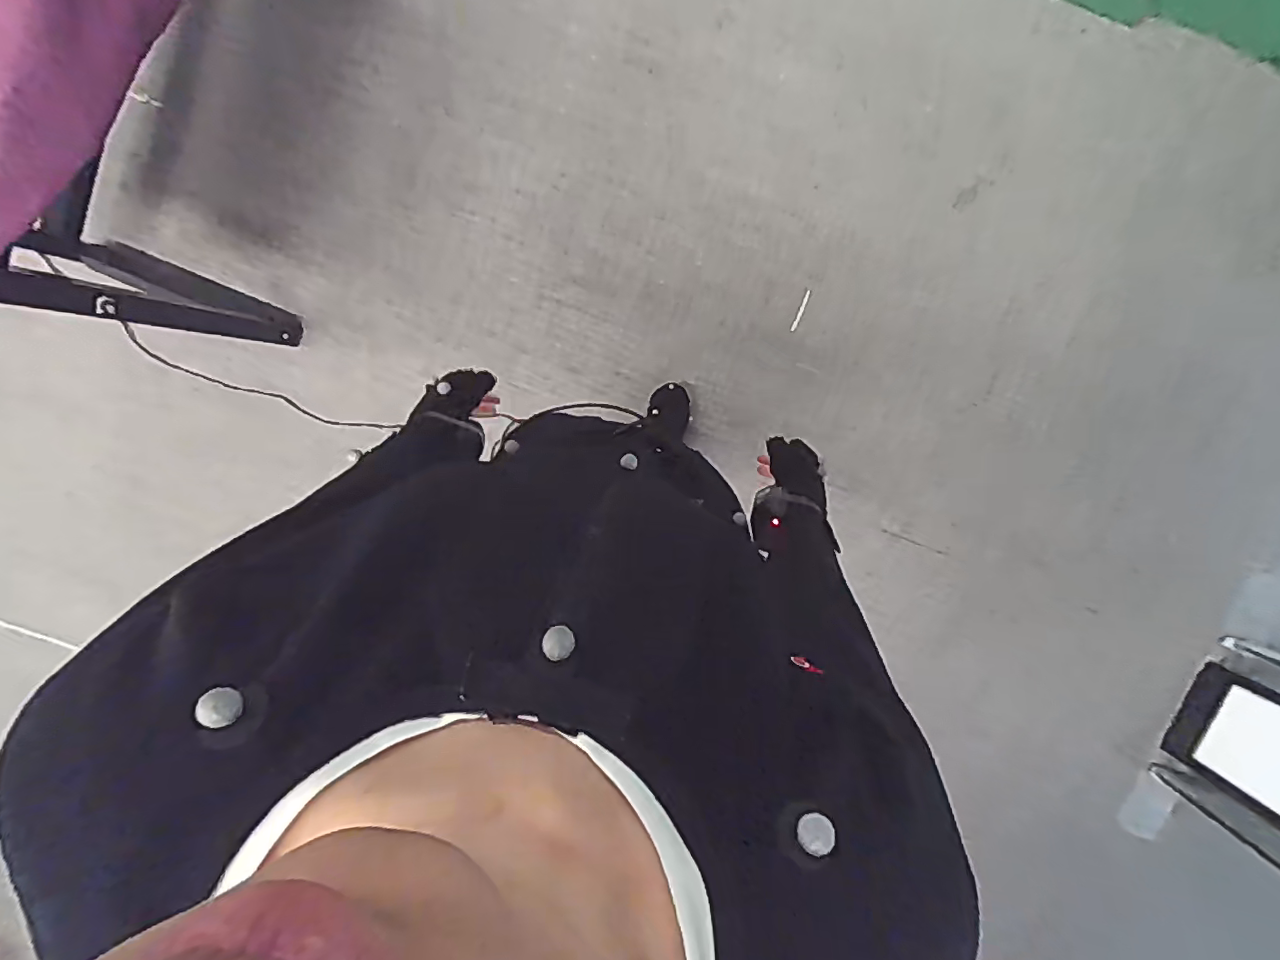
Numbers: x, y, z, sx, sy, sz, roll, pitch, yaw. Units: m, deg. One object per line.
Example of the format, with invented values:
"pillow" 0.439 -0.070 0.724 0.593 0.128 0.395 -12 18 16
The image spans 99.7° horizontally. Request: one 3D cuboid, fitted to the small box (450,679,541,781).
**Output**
"small box" -0.392 0.685 1.500 0.179 0.176 0.168 21 98 -1
